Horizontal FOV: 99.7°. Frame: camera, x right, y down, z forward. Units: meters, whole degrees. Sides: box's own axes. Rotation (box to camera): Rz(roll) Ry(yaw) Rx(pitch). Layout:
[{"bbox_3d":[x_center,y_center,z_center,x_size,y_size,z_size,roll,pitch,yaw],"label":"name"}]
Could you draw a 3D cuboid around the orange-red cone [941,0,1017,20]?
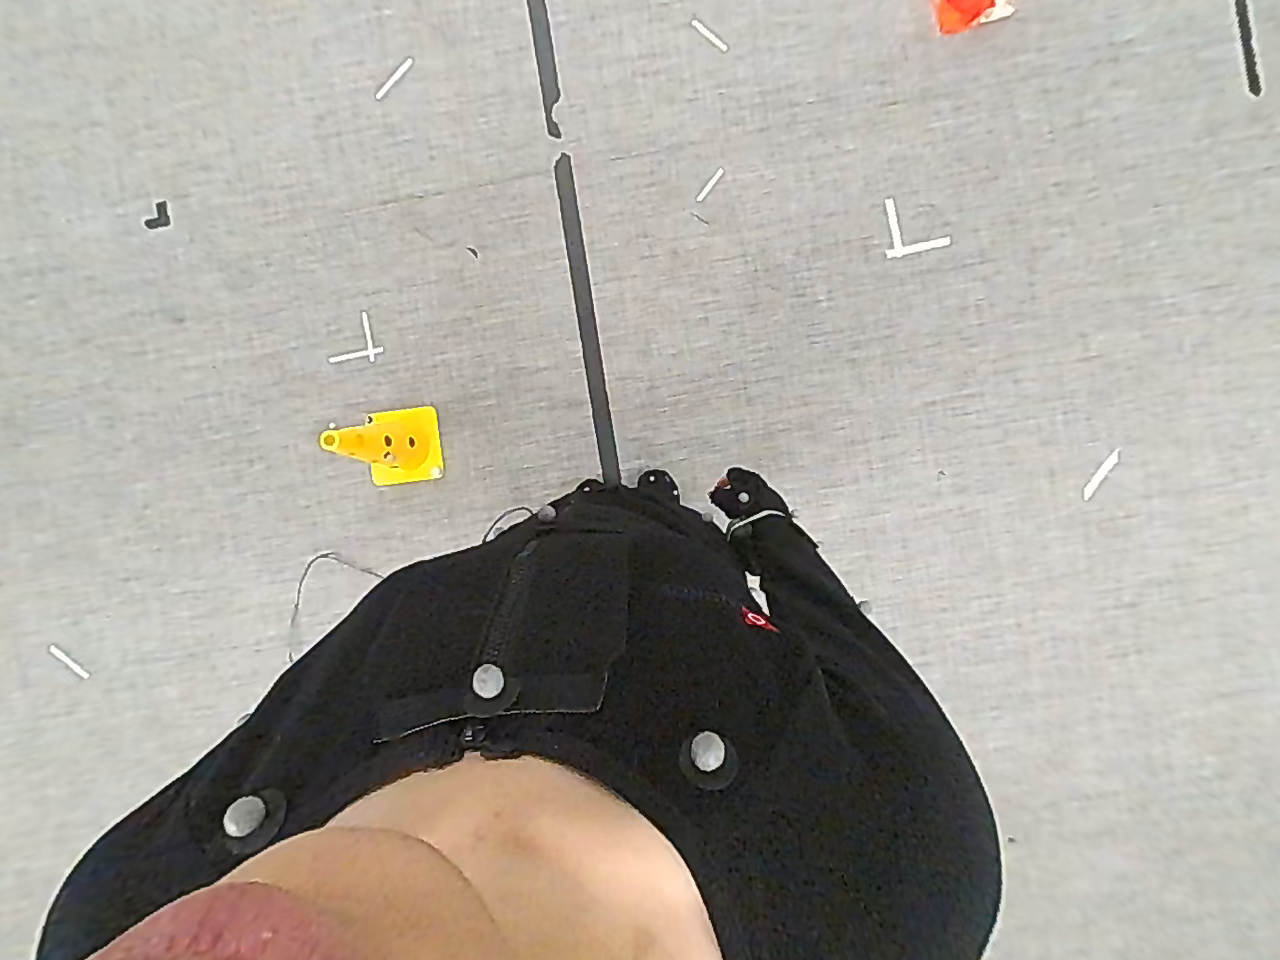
[{"bbox_3d":[0.870,-1.309,1.239,0.198,0.360,0.199,-14,90,1],"label":"orange-red cone"}]
